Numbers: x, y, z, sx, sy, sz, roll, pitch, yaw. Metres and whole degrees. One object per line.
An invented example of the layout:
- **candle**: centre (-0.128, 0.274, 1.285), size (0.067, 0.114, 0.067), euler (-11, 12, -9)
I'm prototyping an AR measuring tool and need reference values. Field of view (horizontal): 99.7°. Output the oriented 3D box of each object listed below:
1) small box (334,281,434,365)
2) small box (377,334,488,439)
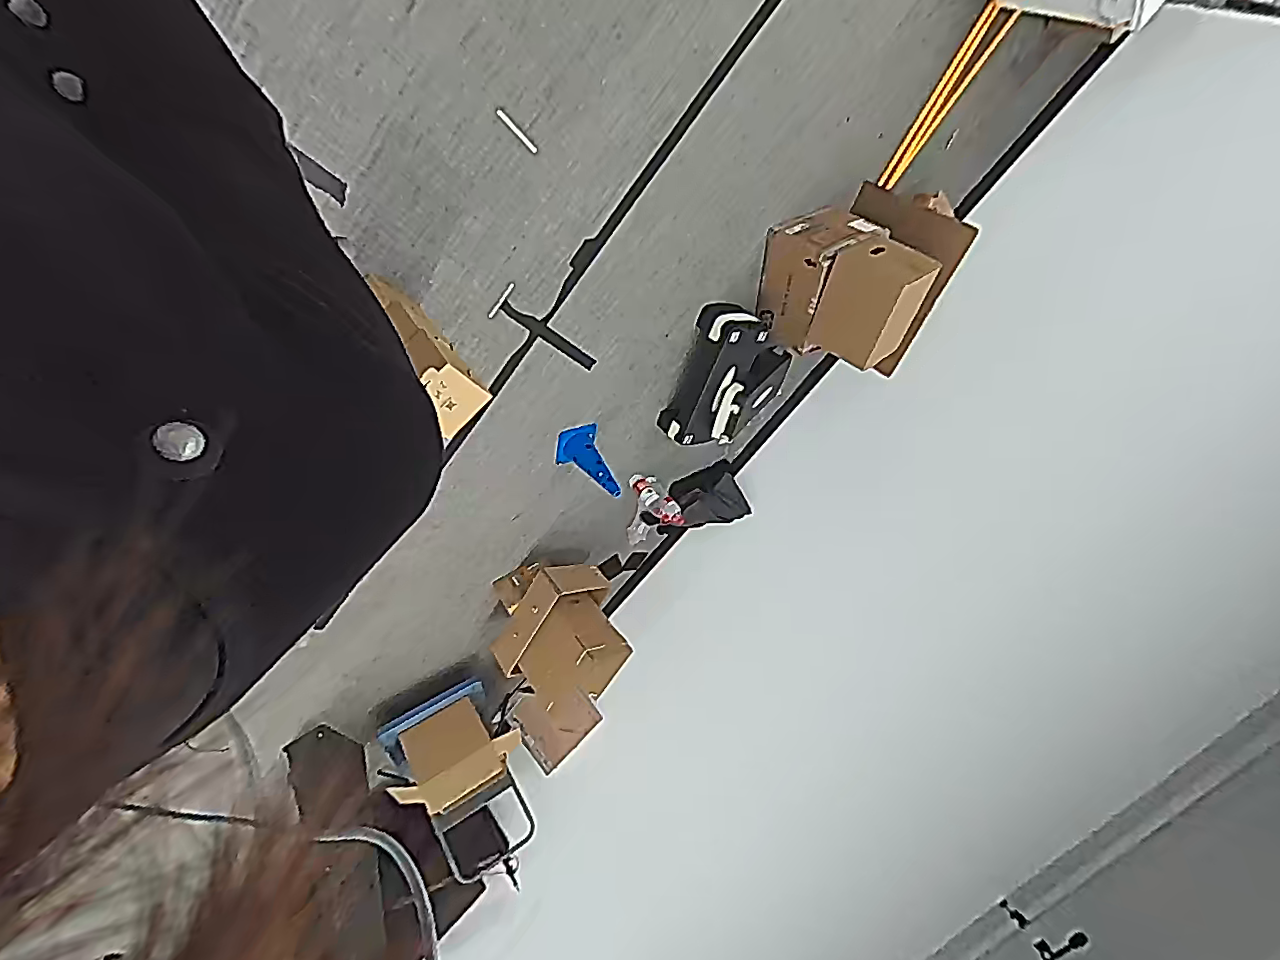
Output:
- **small box**: centre (-0.737, -0.442, 1.547), size (0.168, 0.176, 0.179), euler (-47, 149, 8)
- **small box**: centre (-0.532, -0.241, 1.385), size (0.168, 0.176, 0.179), euler (-44, 149, 3)
